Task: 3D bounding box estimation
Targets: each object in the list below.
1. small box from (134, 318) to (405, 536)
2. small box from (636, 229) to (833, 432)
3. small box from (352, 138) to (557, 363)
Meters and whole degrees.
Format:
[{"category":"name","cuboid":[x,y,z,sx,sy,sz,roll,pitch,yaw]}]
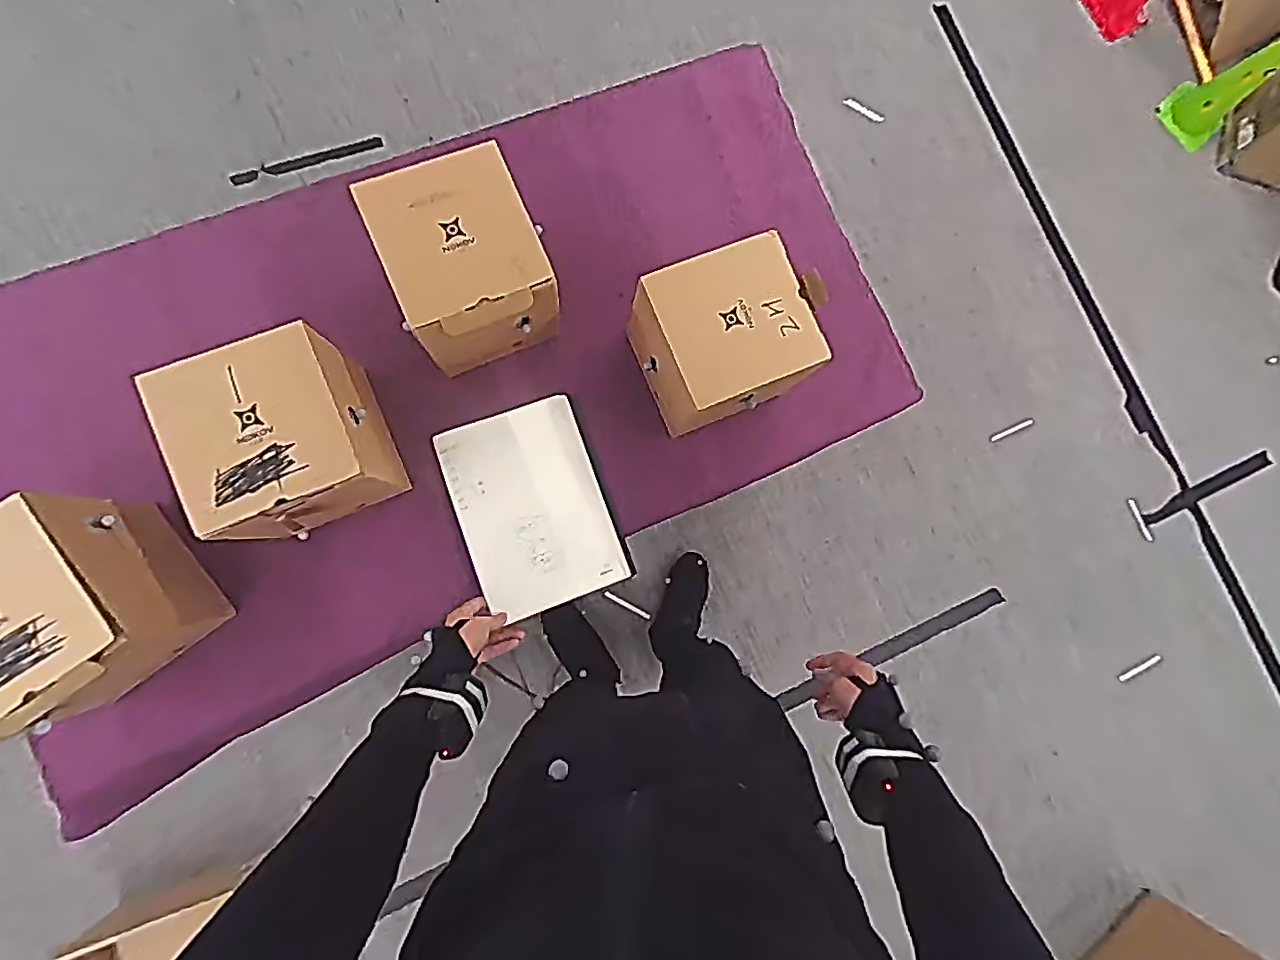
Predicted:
[{"category":"small box","cuboid":[-0.392,-0.048,0.608,0.168,0.176,0.179,-23,87,-9]},{"category":"small box","cuboid":[0.101,-0.173,0.679,0.179,0.176,0.168,-22,87,-9]},{"category":"small box","cuboid":[-0.205,-0.257,0.653,0.168,0.176,0.179,-23,87,-9]}]
